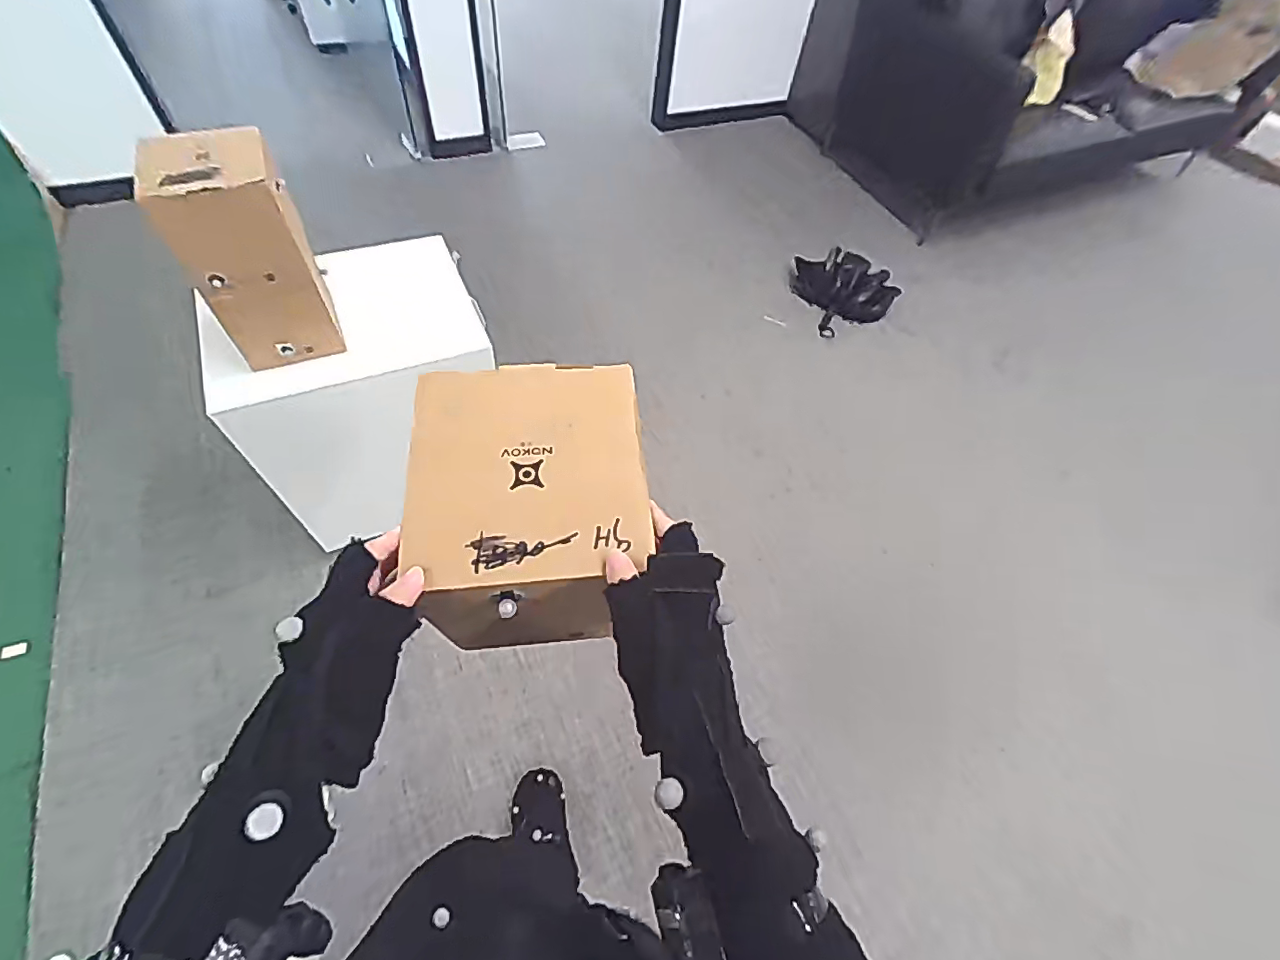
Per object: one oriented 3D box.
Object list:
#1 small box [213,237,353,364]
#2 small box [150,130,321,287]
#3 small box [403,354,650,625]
[{"bbox_3d":[-0.656,-0.347,0.997,0.168,0.176,0.179,-21,63,-18],"label":"small box"},{"bbox_3d":[-0.642,-0.429,0.875,0.168,0.176,0.179,-18,59,-17],"label":"small box"},{"bbox_3d":[-0.085,0.014,0.467,0.168,0.176,0.179,-4,62,-5],"label":"small box"}]
